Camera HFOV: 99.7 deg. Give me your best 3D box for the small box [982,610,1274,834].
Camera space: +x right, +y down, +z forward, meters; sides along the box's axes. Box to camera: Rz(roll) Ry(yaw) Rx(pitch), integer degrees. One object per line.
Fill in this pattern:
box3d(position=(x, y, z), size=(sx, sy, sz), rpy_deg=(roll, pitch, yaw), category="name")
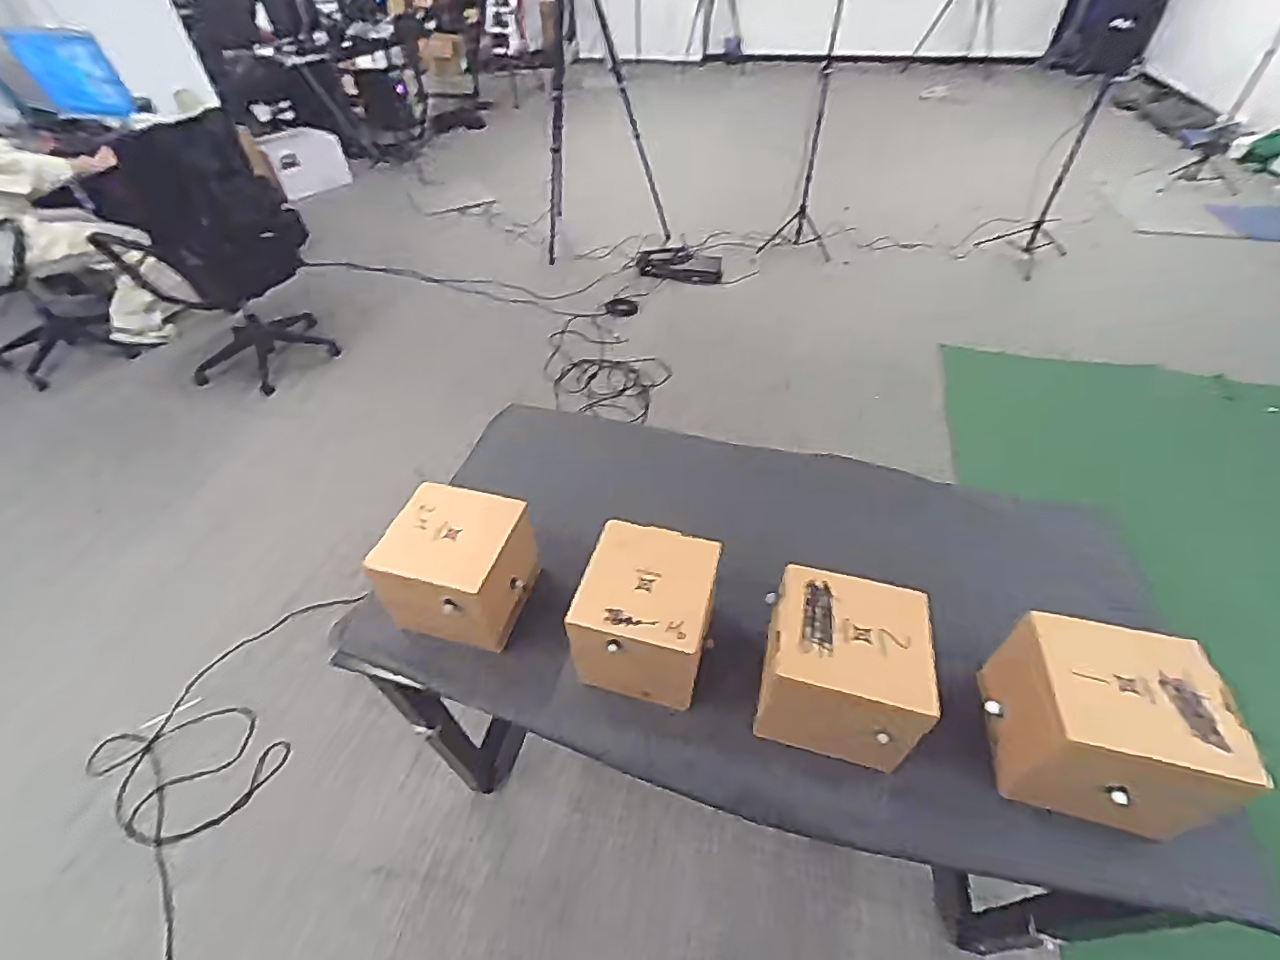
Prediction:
box3d(position=(0.538, 0.285, 0.634), size=(0.179, 0.176, 0.168), rpy_deg=(10, 43, 14), category="small box")
